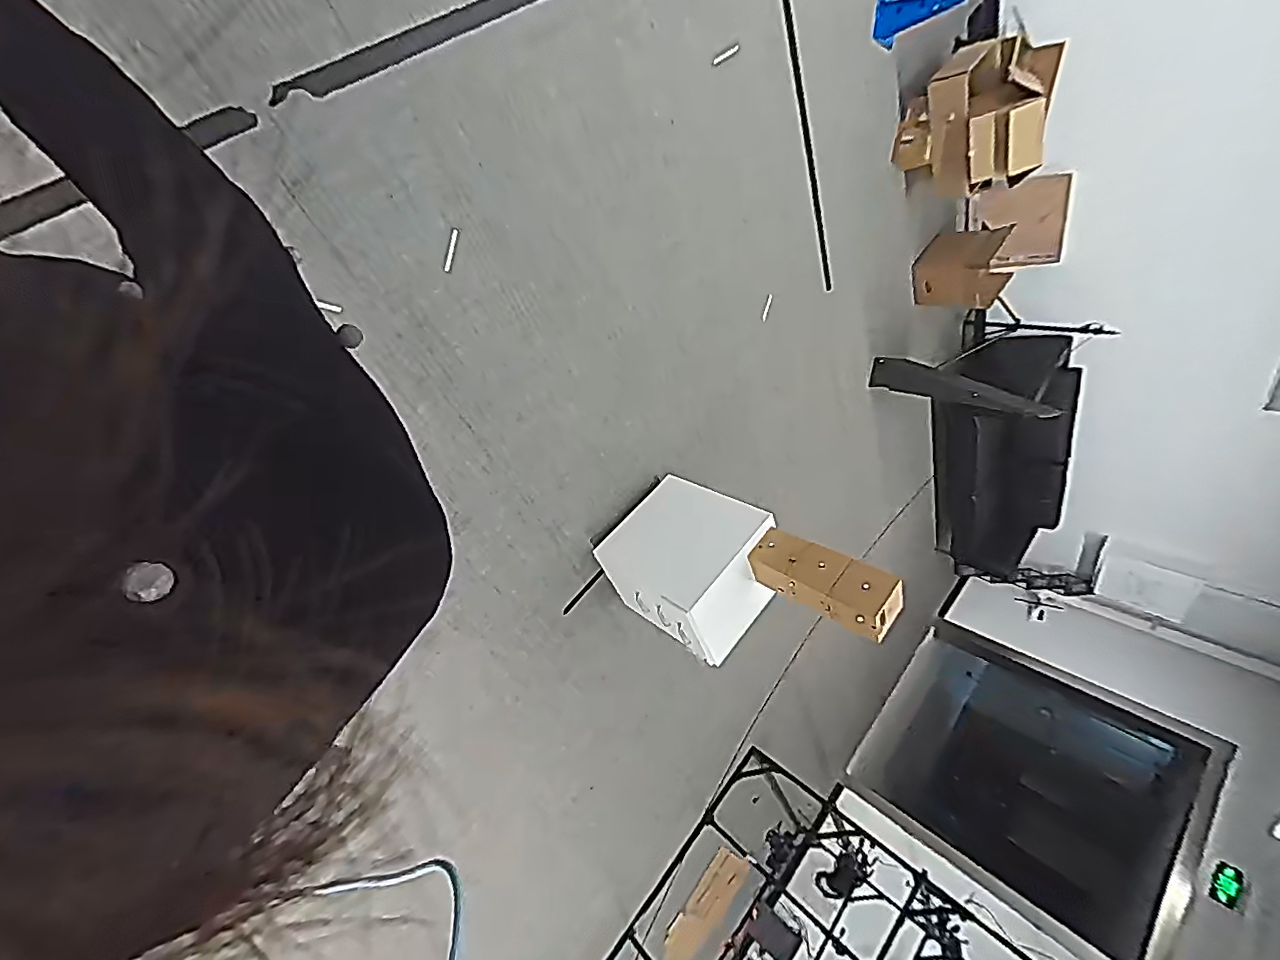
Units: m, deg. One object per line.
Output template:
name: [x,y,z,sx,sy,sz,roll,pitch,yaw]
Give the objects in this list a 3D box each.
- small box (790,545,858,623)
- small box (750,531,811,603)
small box: [0.649,0.366,1.922,0.179,0.176,0.168,-45,133,-22]
small box: [0.541,0.322,2.038,0.168,0.176,0.179,-45,133,-21]
